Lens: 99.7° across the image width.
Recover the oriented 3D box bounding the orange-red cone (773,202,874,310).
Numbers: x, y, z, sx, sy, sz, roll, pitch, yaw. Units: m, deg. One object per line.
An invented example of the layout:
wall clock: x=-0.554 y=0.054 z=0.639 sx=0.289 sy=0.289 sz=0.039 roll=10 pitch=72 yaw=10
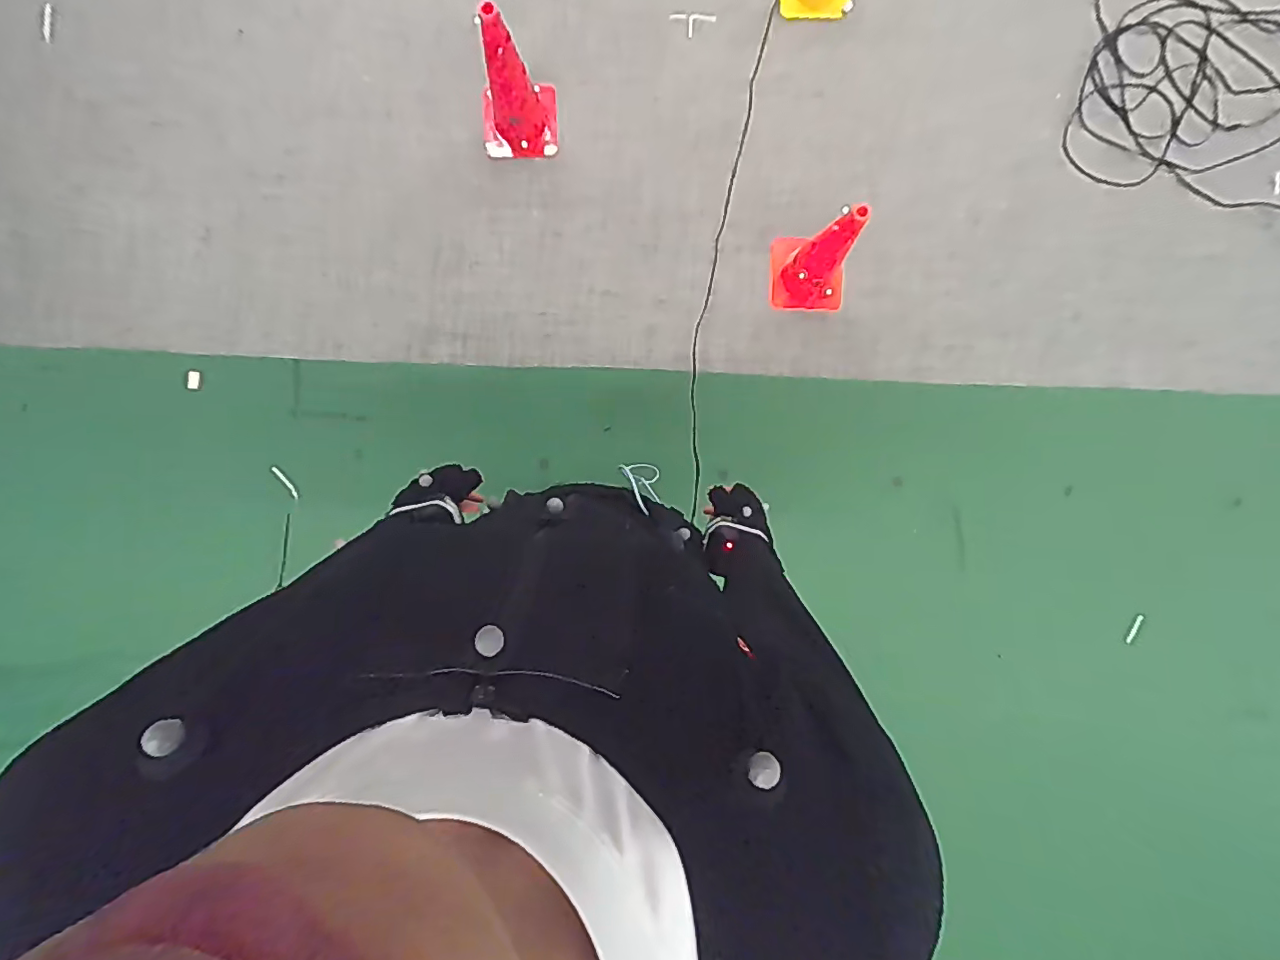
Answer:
orange-red cone: x=0.476 y=-0.578 z=1.332 sx=0.198 sy=0.360 sz=0.199 roll=2 pitch=89 yaw=-2

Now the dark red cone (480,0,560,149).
dark red cone: x=-0.316 y=-0.990 z=1.292 sx=0.202 sy=0.394 sz=0.201 roll=-4 pitch=91 yaw=-1
